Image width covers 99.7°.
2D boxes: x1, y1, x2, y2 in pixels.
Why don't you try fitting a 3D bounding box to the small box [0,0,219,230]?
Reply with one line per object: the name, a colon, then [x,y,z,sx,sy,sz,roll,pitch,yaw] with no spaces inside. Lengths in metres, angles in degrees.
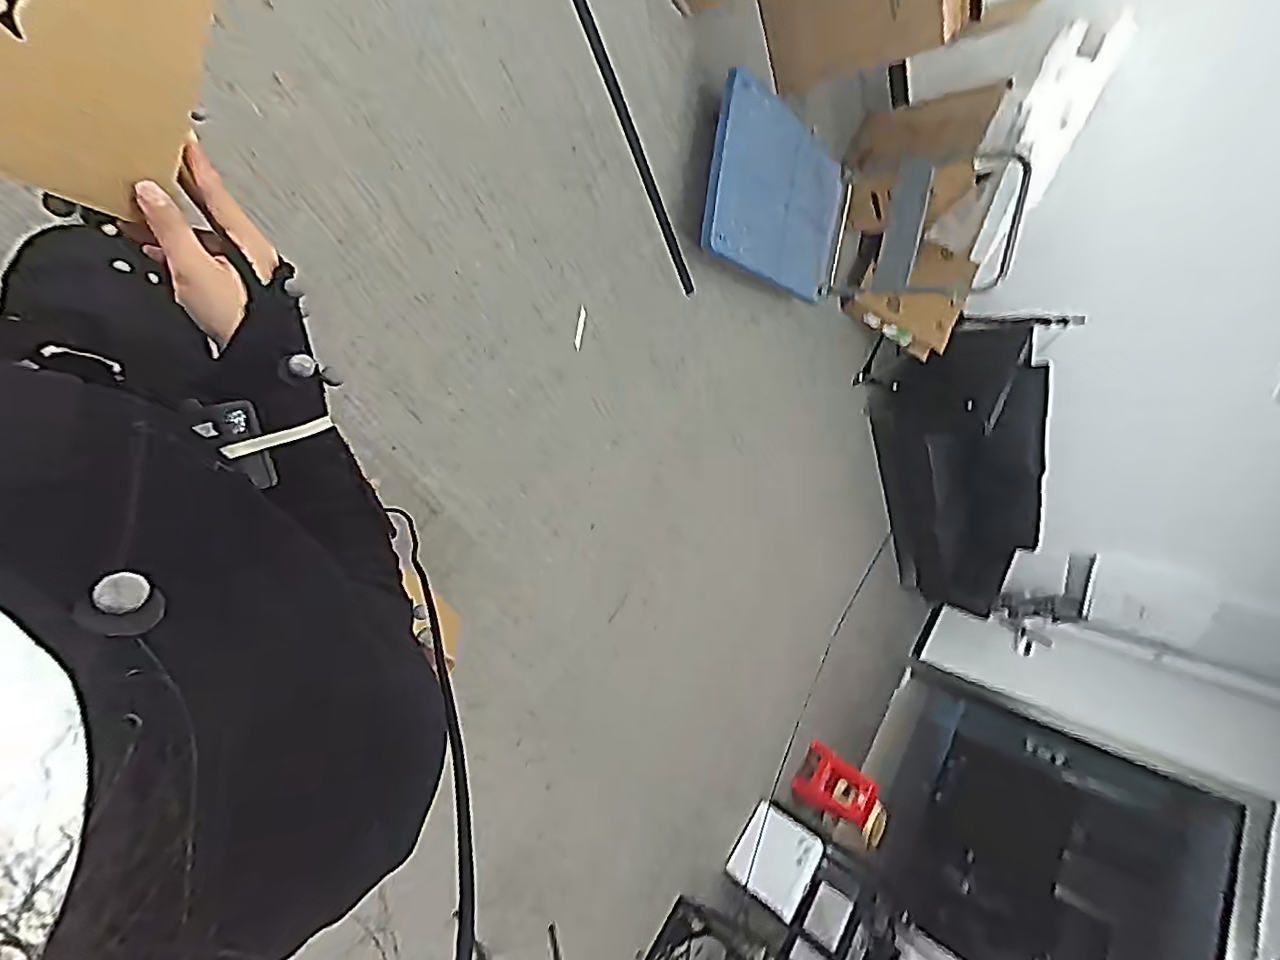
small box: [-0.375,-0.276,0.307,0.179,0.176,0.168,10,112,-49]
